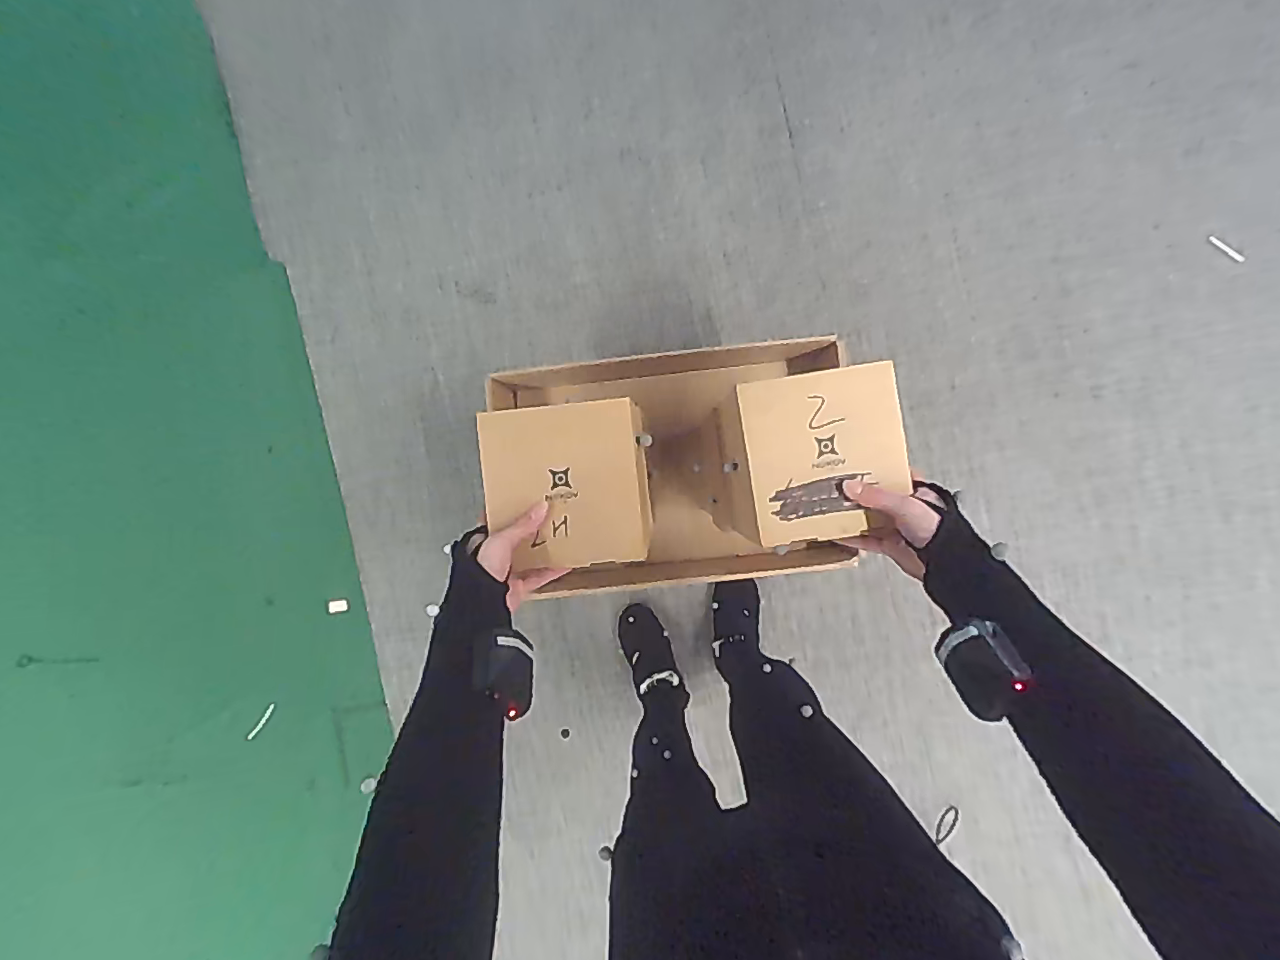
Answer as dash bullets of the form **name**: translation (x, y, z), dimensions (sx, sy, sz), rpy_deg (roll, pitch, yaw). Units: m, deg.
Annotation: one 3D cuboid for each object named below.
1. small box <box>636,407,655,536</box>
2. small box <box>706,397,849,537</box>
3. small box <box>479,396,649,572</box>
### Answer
- **small box**: translation (-0.066, -0.006, 0.804), dimensions (0.168, 0.176, 0.179), rpy_deg (-5, 91, 2)
- **small box**: translation (0.190, -0.017, 0.791), dimensions (0.168, 0.176, 0.179), rpy_deg (-5, 90, 1)
- **small box**: translation (-0.078, 0.004, 0.641), dimensions (0.168, 0.176, 0.179), rpy_deg (-5, 91, 3)
